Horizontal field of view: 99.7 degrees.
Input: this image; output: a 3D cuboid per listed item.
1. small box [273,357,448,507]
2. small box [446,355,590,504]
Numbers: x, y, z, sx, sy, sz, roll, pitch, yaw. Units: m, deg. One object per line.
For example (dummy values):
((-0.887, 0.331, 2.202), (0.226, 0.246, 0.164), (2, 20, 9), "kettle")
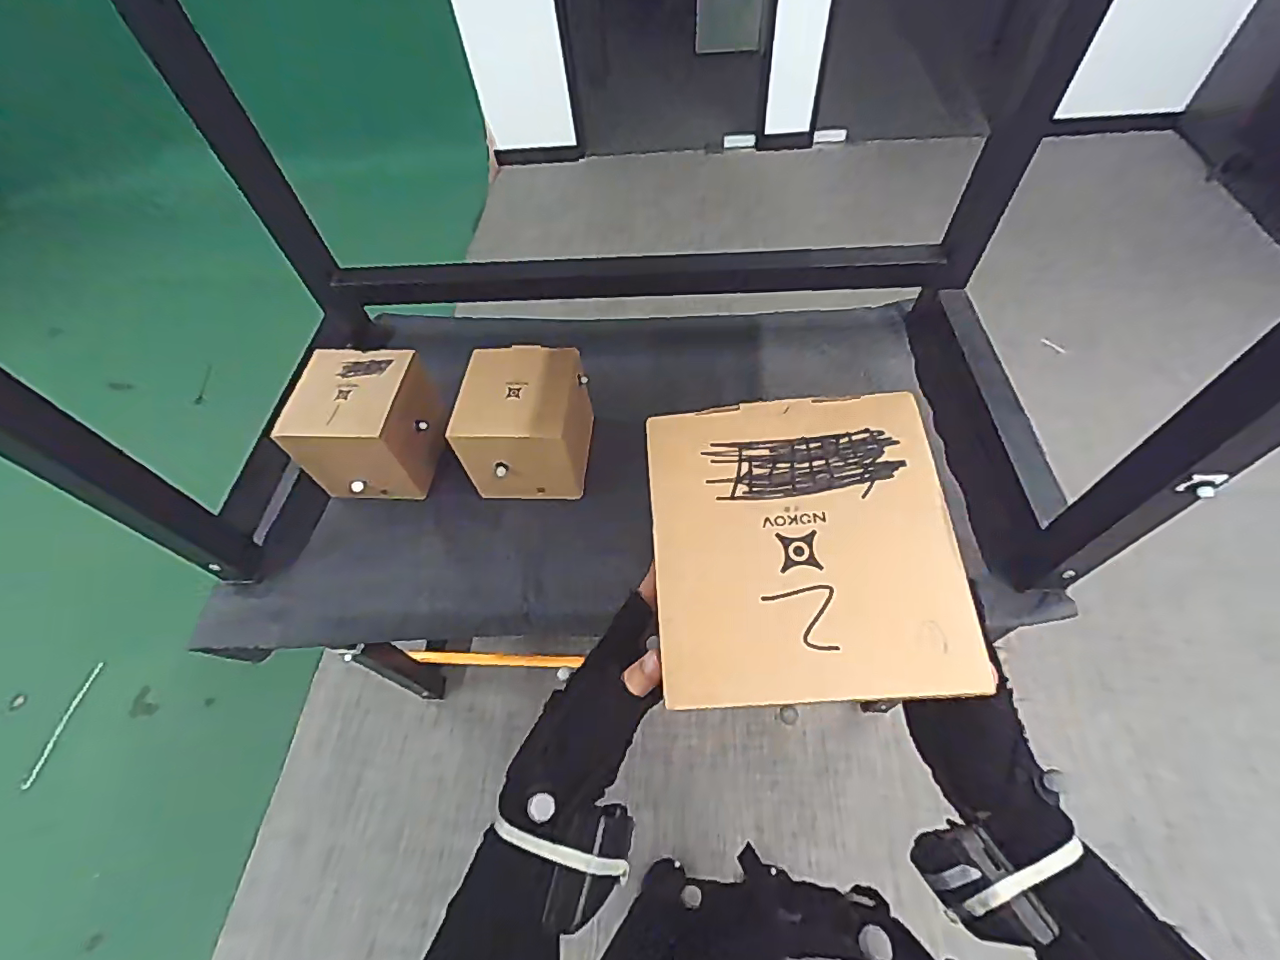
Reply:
((-0.429, -0.076, 0.870), (0.168, 0.176, 0.179), (1, 56, 5), "small box")
((-0.177, -0.074, 0.850), (0.168, 0.176, 0.179), (1, 55, 5), "small box")
